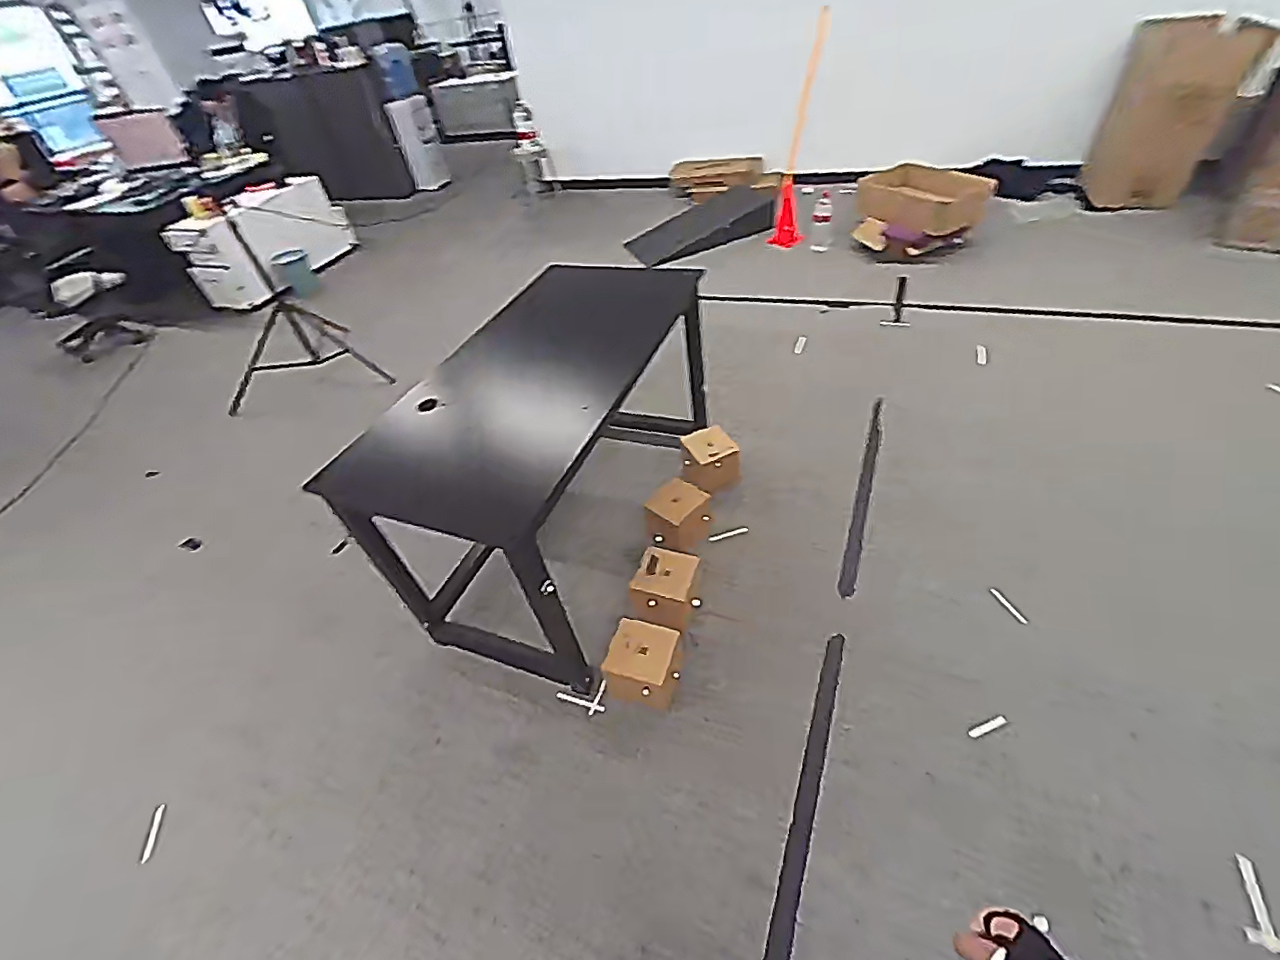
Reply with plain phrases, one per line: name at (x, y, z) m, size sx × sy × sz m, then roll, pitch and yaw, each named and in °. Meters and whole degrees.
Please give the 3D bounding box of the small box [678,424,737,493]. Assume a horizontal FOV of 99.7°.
small box at (0.260, -0.081, 2.093) m, size 0.168 × 0.176 × 0.179 m, roll -23°, pitch 45°, yaw -12°

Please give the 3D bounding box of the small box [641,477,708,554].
small box at (0.128, 0.126, 1.915) m, size 0.168 × 0.176 × 0.179 m, roll 29°, pitch 57°, yaw 34°

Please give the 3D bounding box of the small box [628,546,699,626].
small box at (0.080, 0.339, 1.707) m, size 0.179 × 0.176 × 0.168 m, roll 11°, pitch 48°, yaw 19°
